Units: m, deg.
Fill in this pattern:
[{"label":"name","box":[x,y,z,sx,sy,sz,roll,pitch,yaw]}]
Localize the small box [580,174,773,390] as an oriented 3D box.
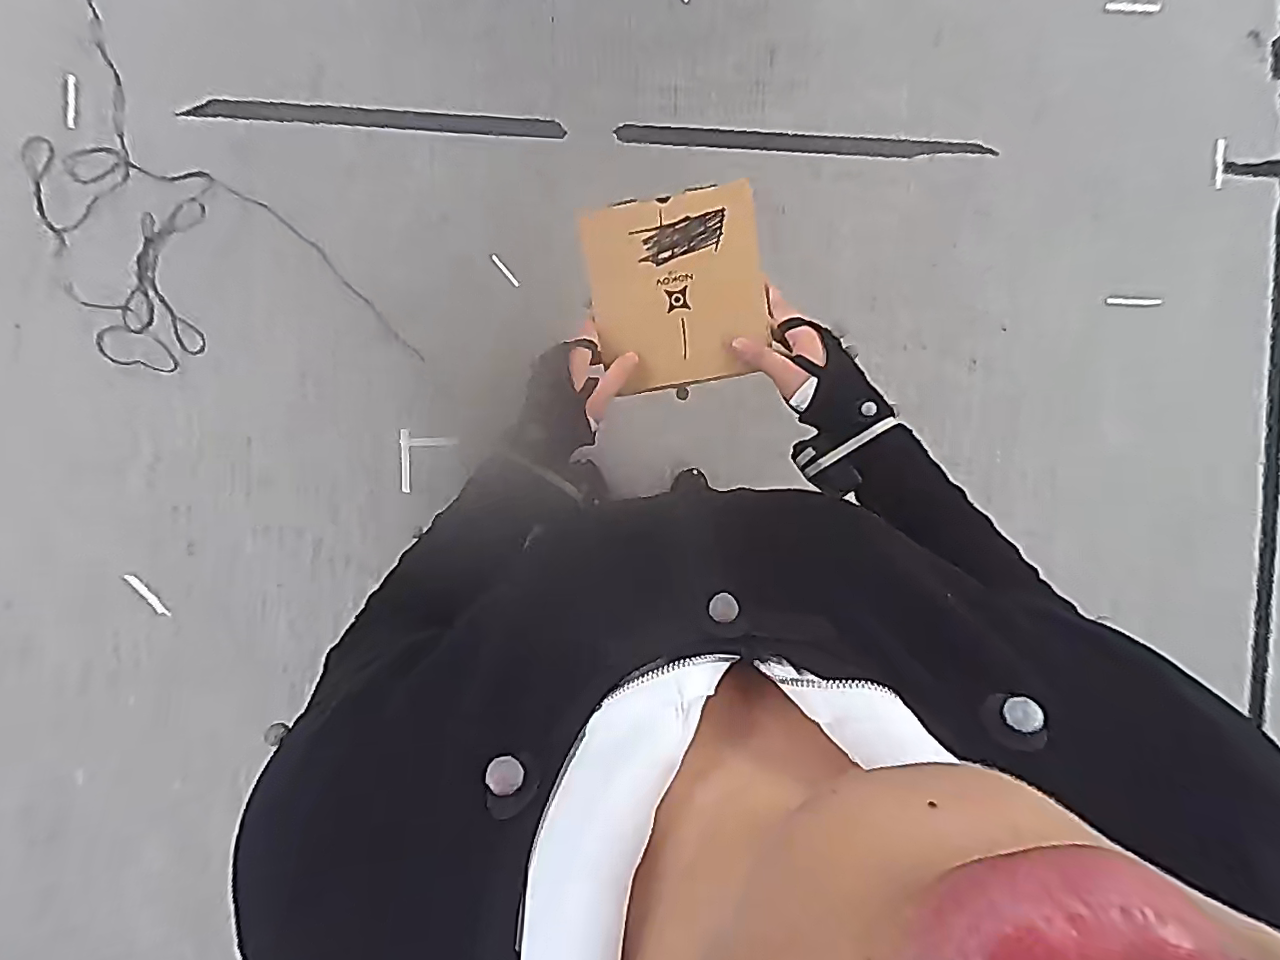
[{"label":"small box","box":[0.038,-0.197,0.592,0.168,0.176,0.179,-9,99,4]}]
